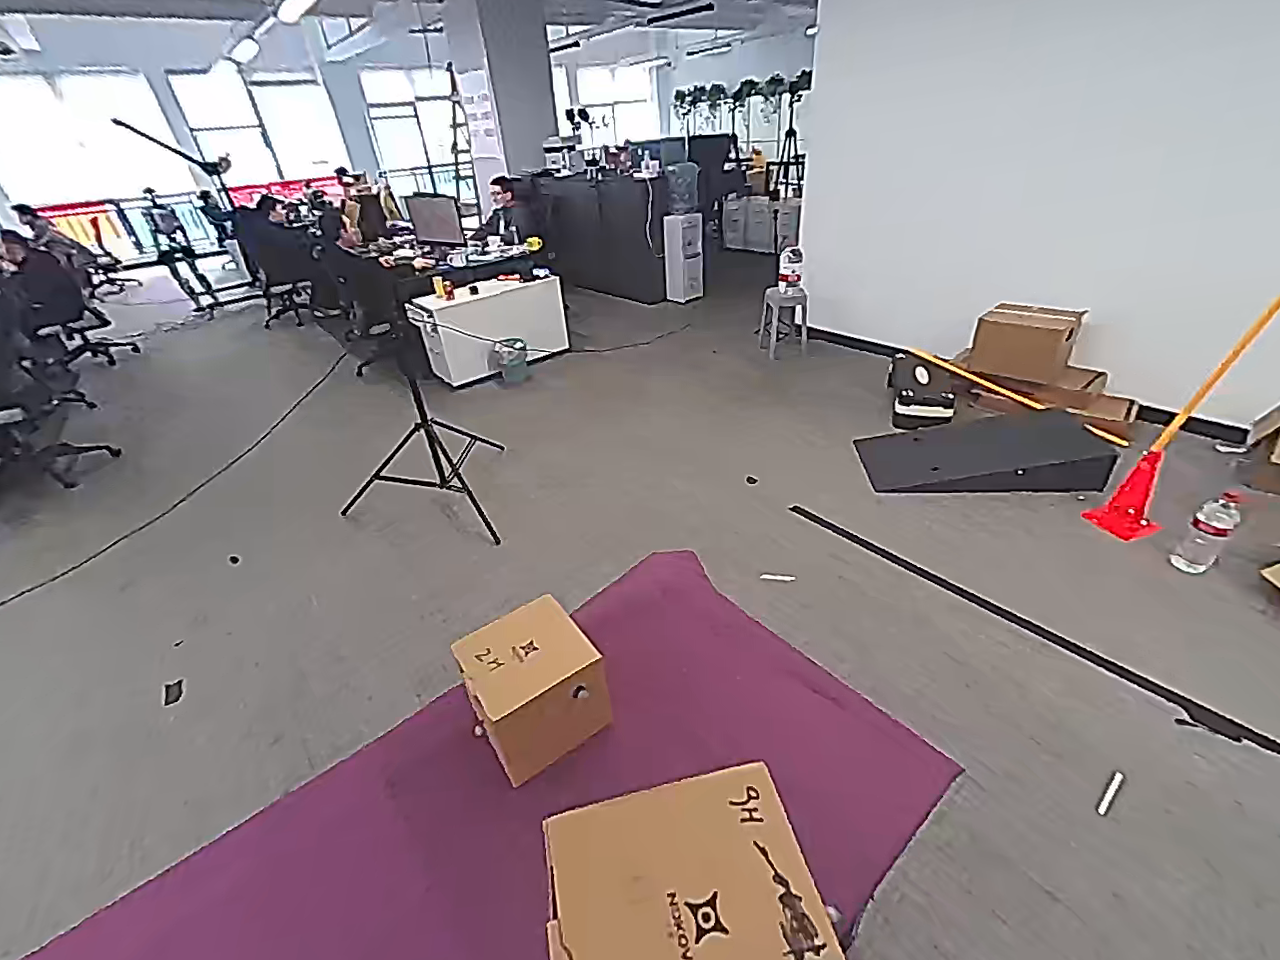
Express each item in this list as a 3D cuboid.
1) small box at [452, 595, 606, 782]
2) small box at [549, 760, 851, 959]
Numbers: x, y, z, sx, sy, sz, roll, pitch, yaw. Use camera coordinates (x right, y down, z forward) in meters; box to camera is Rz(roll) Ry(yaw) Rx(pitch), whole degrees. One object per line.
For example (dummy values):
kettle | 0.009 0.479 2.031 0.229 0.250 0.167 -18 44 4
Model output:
small box | -0.166 0.321 0.846 0.179 0.176 0.168 -25 39 -27
small box | 0.036 0.344 0.401 0.179 0.176 0.168 -8 42 -12
